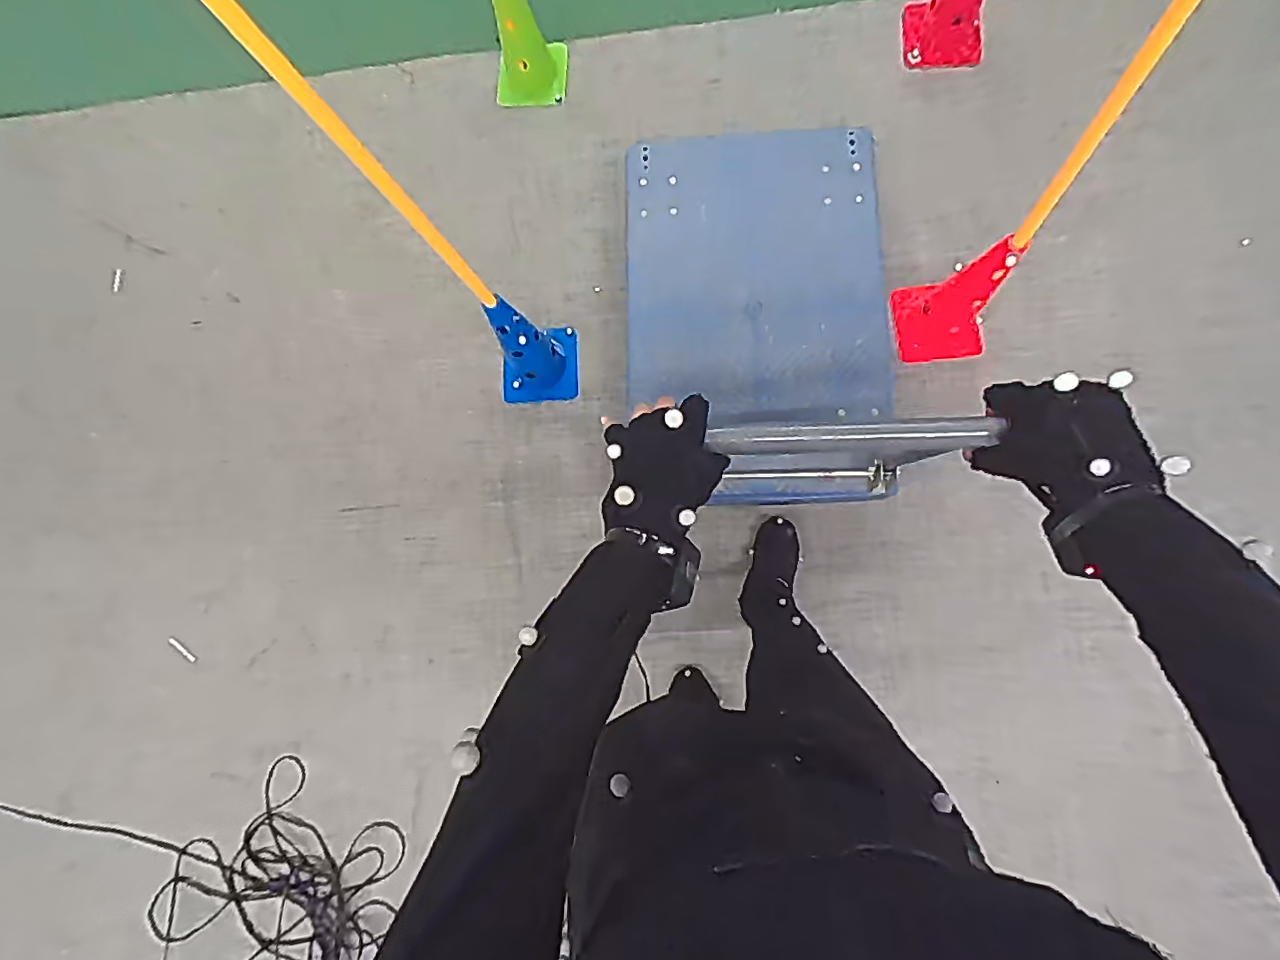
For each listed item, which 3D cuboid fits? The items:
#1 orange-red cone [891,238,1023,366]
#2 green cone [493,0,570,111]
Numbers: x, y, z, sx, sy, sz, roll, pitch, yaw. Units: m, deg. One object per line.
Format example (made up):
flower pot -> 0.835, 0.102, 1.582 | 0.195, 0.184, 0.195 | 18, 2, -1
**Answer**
orange-red cone -> 0.721, -0.412, 1.190 | 0.199, 0.360, 0.198 | -4, 81, 7
green cone -> -0.321, -1.193, 1.402 | 0.202, 0.368, 0.200 | 1, 81, 6
